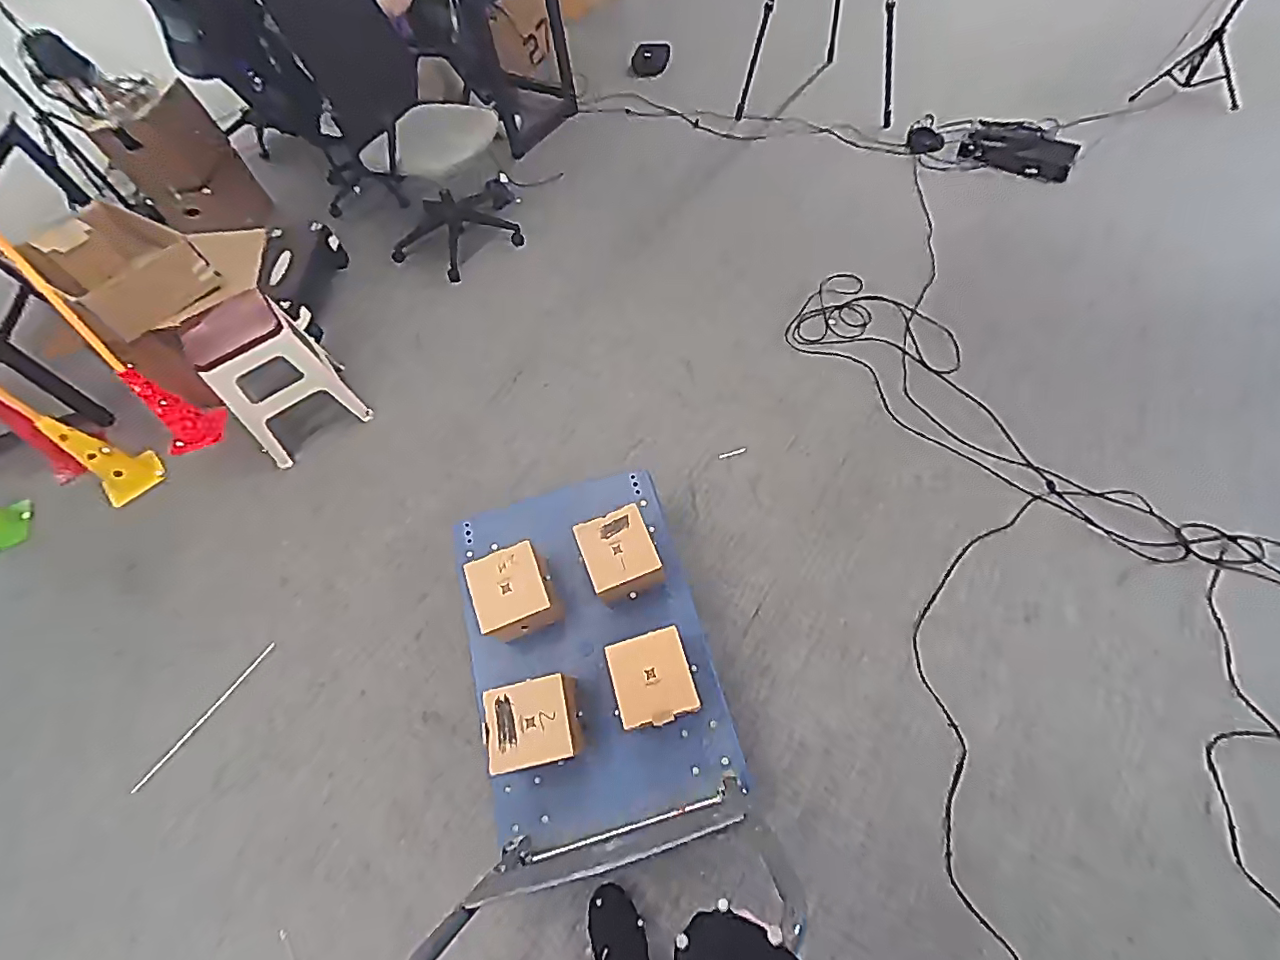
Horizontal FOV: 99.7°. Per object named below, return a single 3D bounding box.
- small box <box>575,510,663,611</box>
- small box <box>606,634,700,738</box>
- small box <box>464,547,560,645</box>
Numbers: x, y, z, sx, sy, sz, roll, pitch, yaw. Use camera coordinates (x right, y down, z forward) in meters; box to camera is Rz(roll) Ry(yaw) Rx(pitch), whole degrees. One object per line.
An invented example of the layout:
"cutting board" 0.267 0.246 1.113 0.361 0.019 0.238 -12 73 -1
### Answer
"small box" -0.049 0.204 1.333 0.168 0.176 0.179 -20 67 -5
"small box" 0.027 0.464 1.212 0.168 0.176 0.179 -16 66 -3
"small box" -0.304 0.288 1.310 0.168 0.176 0.179 -20 66 -6
